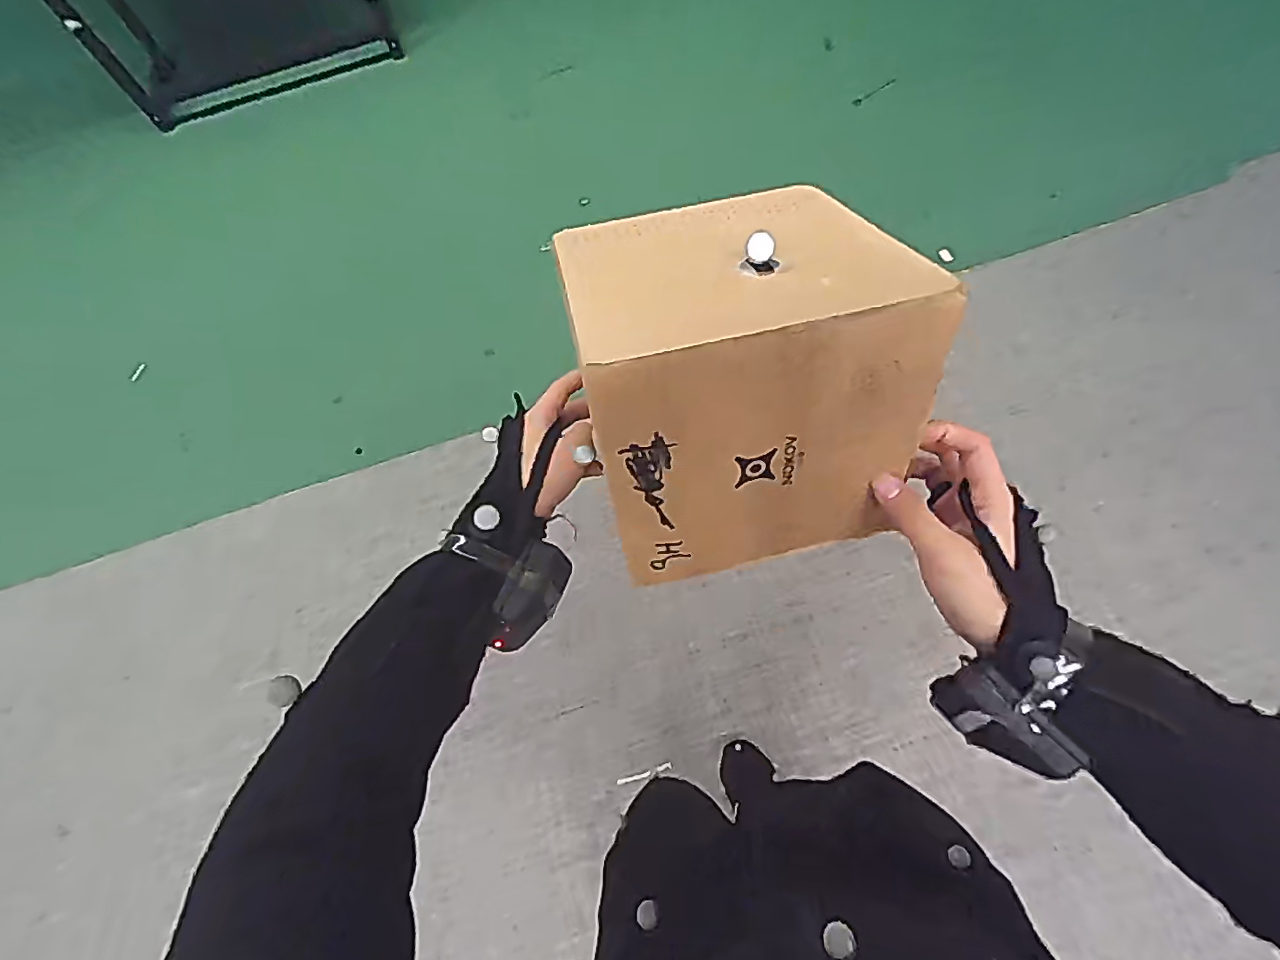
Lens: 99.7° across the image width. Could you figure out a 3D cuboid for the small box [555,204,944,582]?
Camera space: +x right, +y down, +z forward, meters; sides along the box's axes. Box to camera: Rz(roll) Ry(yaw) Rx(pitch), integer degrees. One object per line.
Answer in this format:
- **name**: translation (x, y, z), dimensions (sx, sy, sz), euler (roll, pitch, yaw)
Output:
- **small box**: translation (0.052, -0.064, 0.360), dimensions (0.179, 0.168, 0.176), euler (-14, 43, -5)
